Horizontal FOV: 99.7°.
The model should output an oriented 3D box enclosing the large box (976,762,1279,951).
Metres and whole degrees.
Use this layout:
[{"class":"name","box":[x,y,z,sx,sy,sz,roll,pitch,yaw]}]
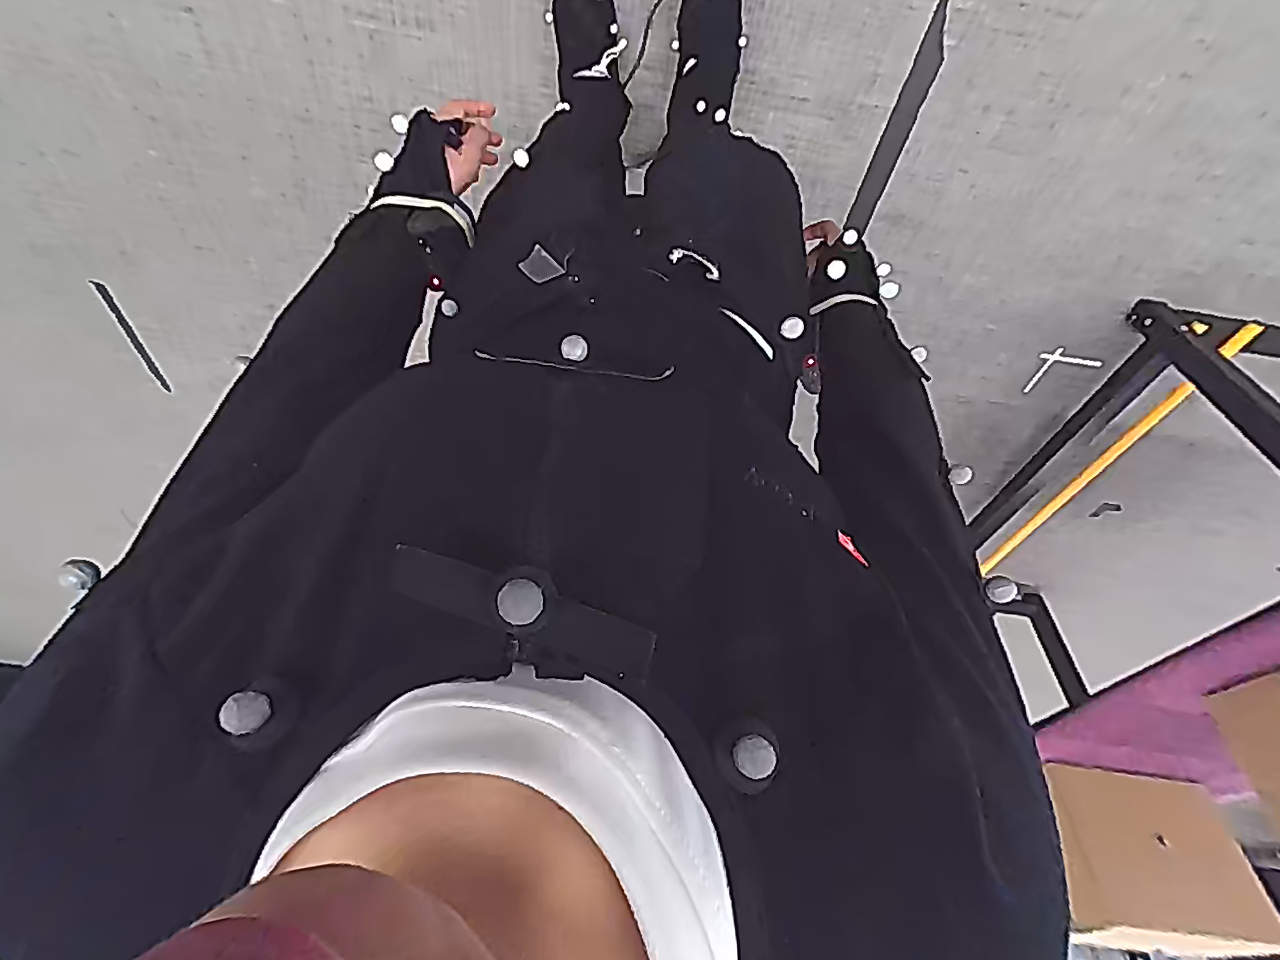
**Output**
[{"class":"large box","box":[1.131,0.905,1.302,0.408,0.320,0.320,8,138,-3]}]
